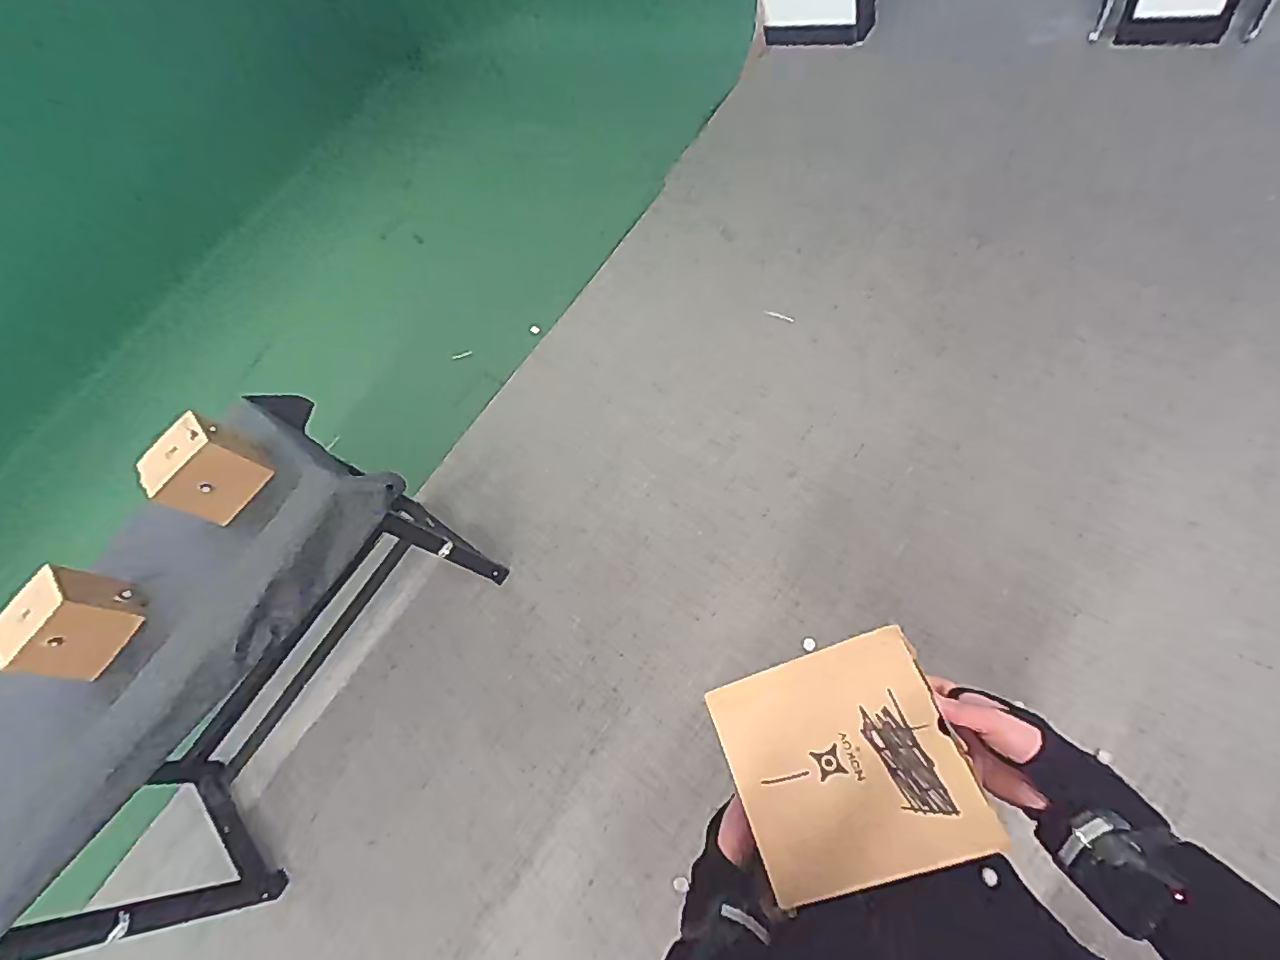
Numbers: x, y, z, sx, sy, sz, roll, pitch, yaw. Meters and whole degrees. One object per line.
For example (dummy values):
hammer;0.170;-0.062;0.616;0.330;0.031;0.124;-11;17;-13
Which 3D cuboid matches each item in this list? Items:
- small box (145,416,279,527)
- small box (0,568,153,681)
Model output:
small box;-1.020;-0.015;1.296;0.168;0.176;0.179;36;83;32
small box;-1.274;0.333;1.229;0.168;0.176;0.179;28;76;30
